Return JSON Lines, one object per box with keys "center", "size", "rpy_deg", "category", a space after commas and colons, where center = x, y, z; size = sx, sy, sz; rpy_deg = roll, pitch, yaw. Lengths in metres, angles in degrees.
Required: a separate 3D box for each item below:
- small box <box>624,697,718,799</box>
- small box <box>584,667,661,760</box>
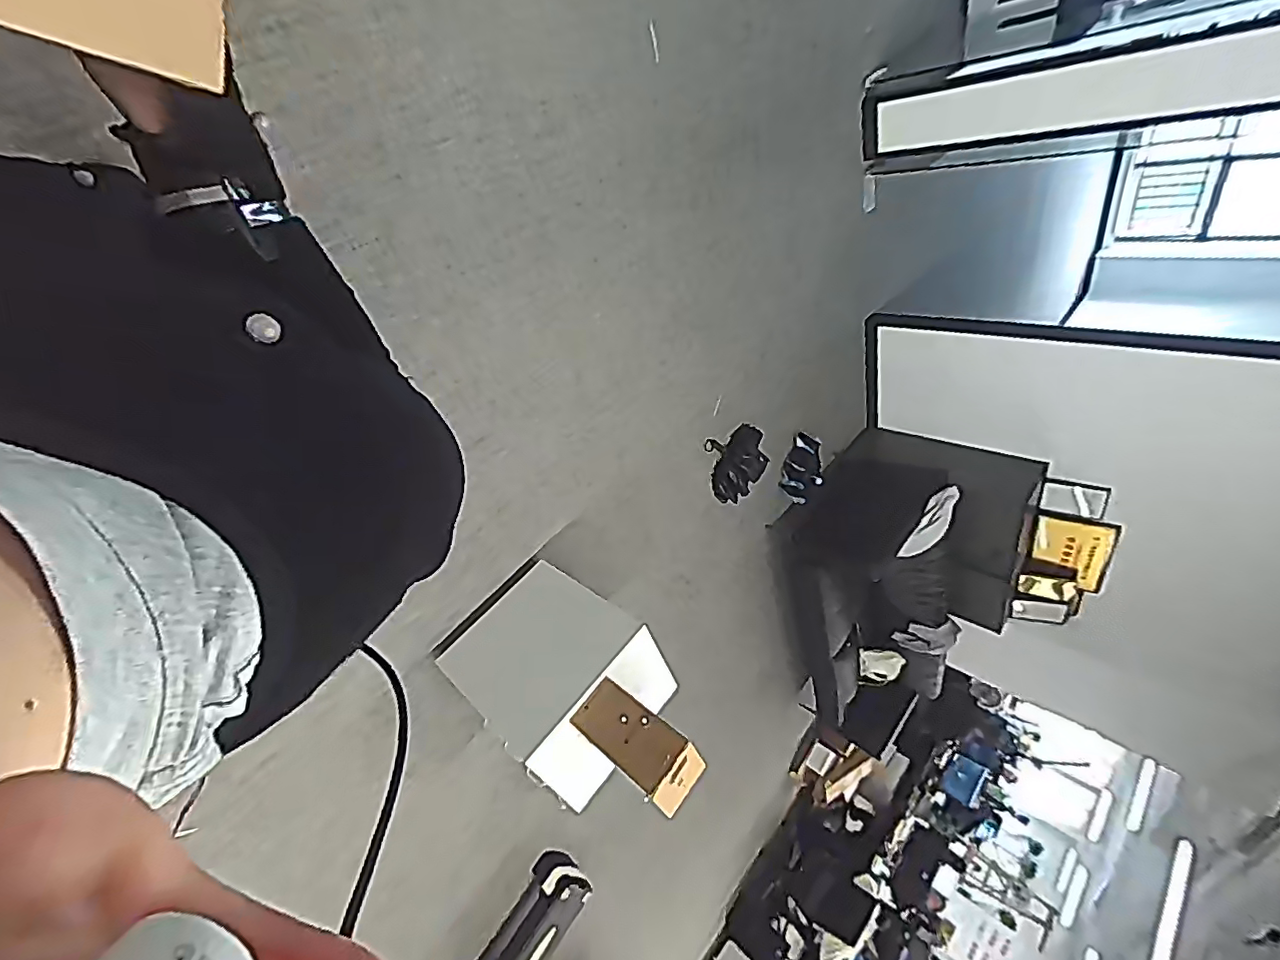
{"center": [0.083, 0.728, 1.485], "size": [0.168, 0.176, 0.179], "rpy_deg": [-47, 136, -23], "category": "small box"}
{"center": [-0.034, 0.682, 1.591], "size": [0.168, 0.176, 0.179], "rpy_deg": [-49, 137, -23], "category": "small box"}
